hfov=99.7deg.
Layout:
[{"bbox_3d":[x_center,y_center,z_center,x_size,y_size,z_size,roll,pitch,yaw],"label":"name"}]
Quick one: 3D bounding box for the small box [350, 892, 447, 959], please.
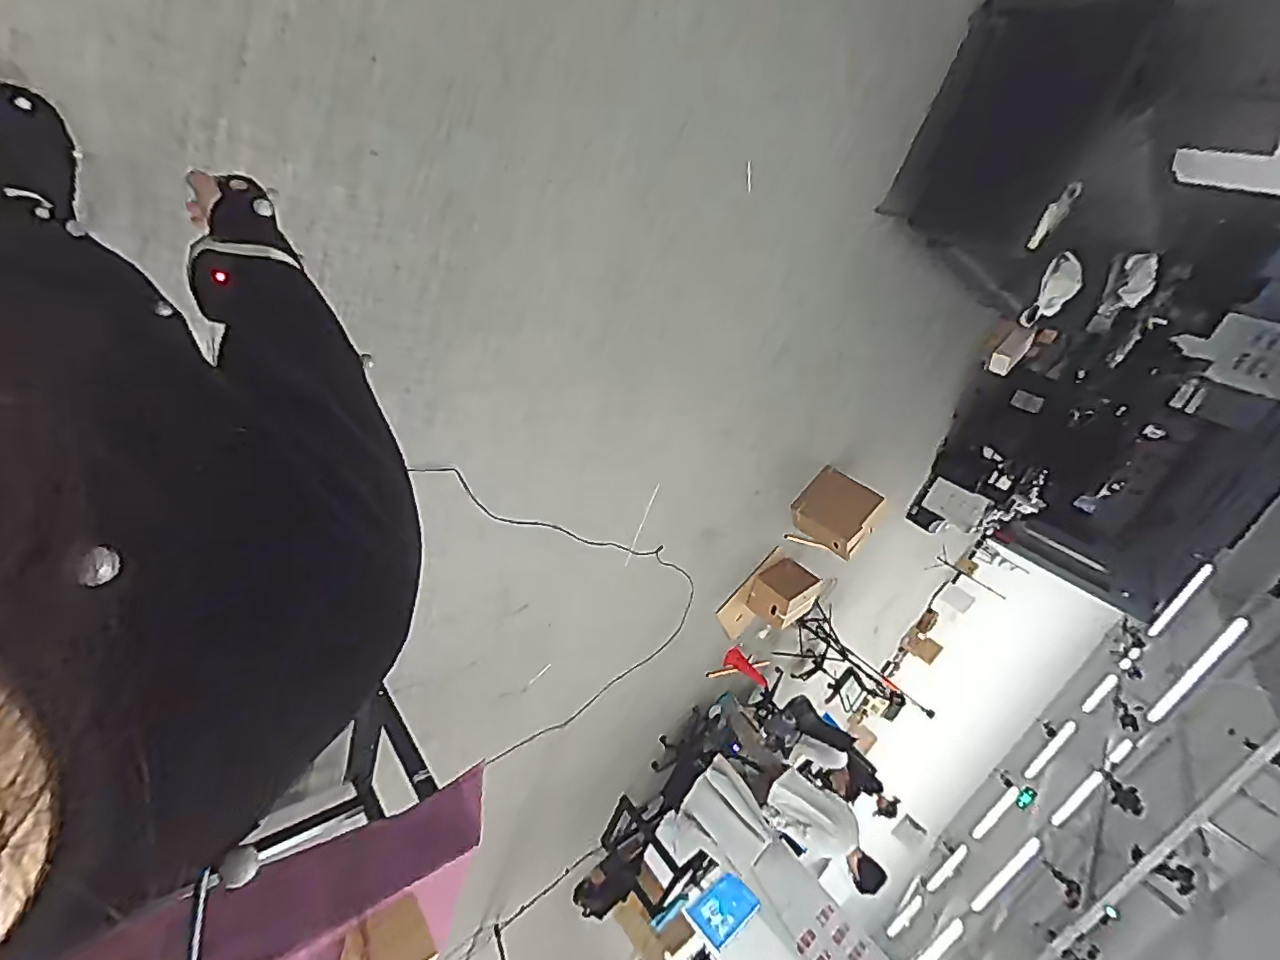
[{"bbox_3d":[-0.643,1.255,1.428,0.179,0.176,0.168,-2,122,-46],"label":"small box"}]
